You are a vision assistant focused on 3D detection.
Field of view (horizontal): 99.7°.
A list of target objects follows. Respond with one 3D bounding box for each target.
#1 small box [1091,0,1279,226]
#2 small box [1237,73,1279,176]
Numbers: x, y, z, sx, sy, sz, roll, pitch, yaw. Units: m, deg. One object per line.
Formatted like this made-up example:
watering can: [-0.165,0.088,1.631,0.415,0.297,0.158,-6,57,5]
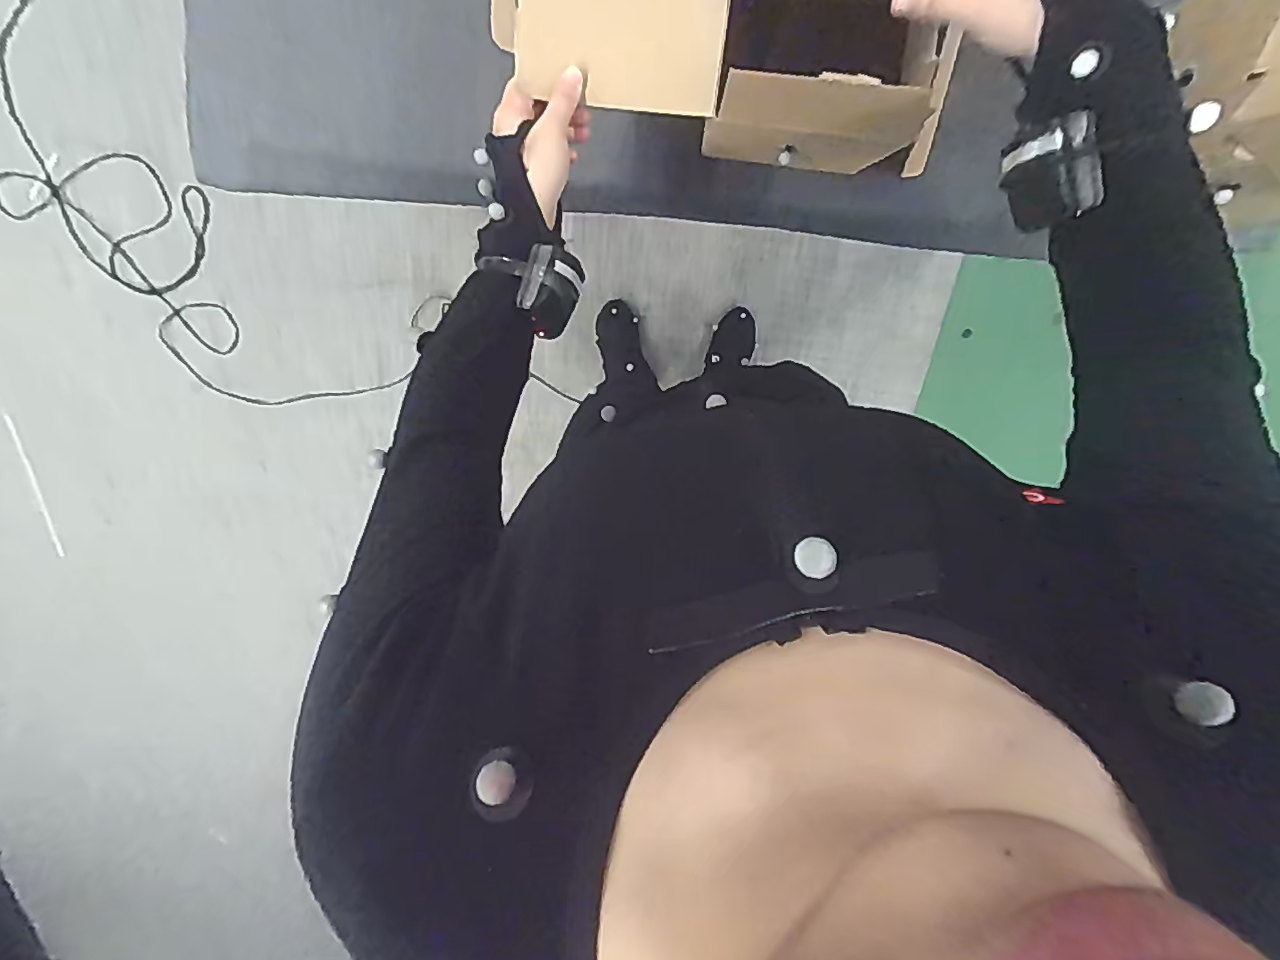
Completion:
small box: [0.587,-0.347,0.502,0.179,0.176,0.168,11,109,-1]
small box: [0.584,-0.277,0.353,0.179,0.176,0.168,31,107,-10]
